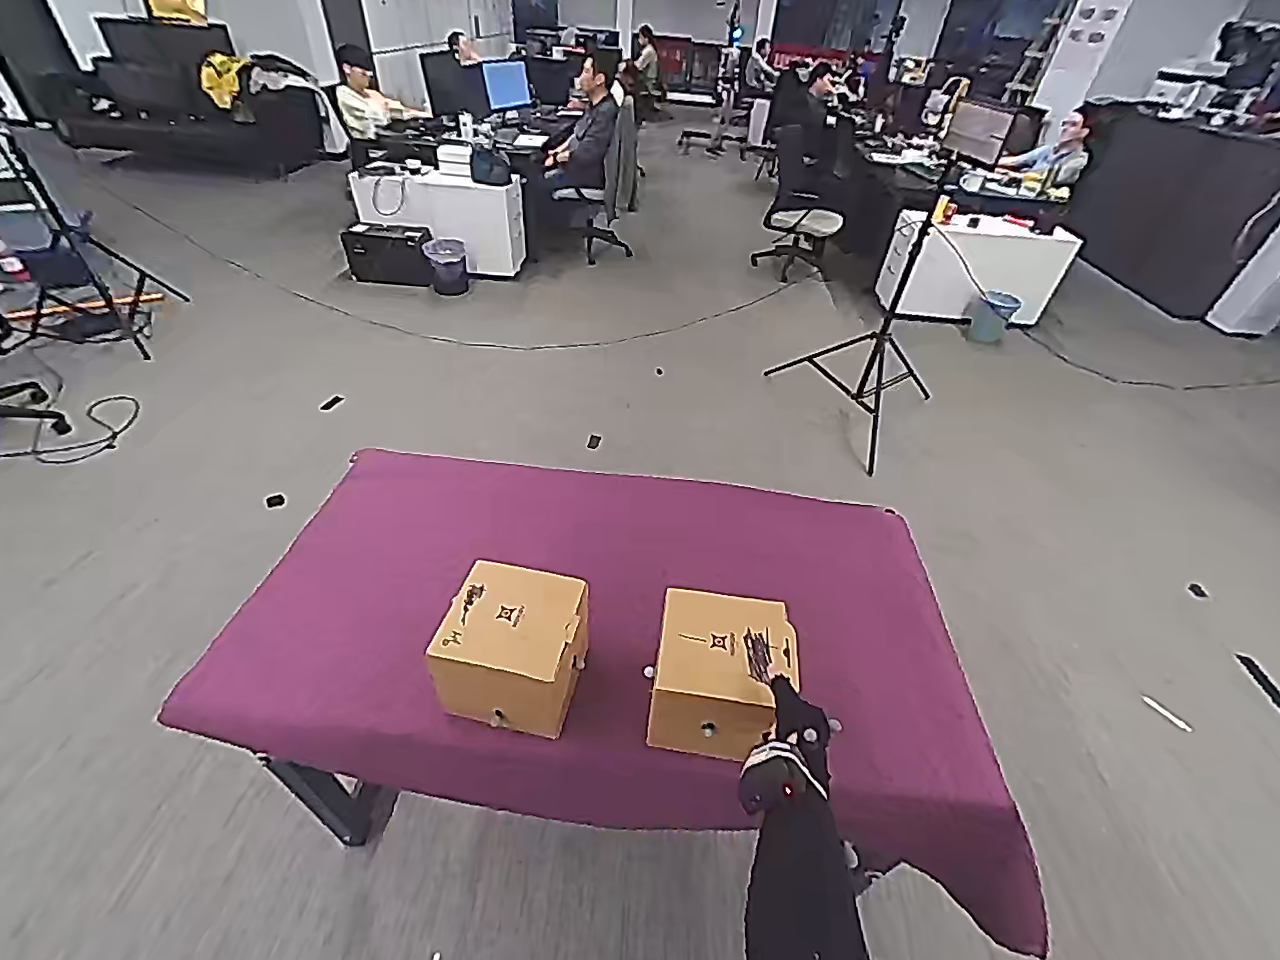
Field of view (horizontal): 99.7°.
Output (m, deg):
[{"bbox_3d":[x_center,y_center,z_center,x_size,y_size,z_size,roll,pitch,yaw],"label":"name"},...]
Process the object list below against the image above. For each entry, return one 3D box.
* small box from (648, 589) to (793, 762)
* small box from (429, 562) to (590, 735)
[{"bbox_3d":[0.112,0.286,0.789,0.179,0.176,0.168,7,40,4],"label":"small box"},{"bbox_3d":[-0.180,0.252,0.802,0.179,0.176,0.168,11,40,6],"label":"small box"}]
